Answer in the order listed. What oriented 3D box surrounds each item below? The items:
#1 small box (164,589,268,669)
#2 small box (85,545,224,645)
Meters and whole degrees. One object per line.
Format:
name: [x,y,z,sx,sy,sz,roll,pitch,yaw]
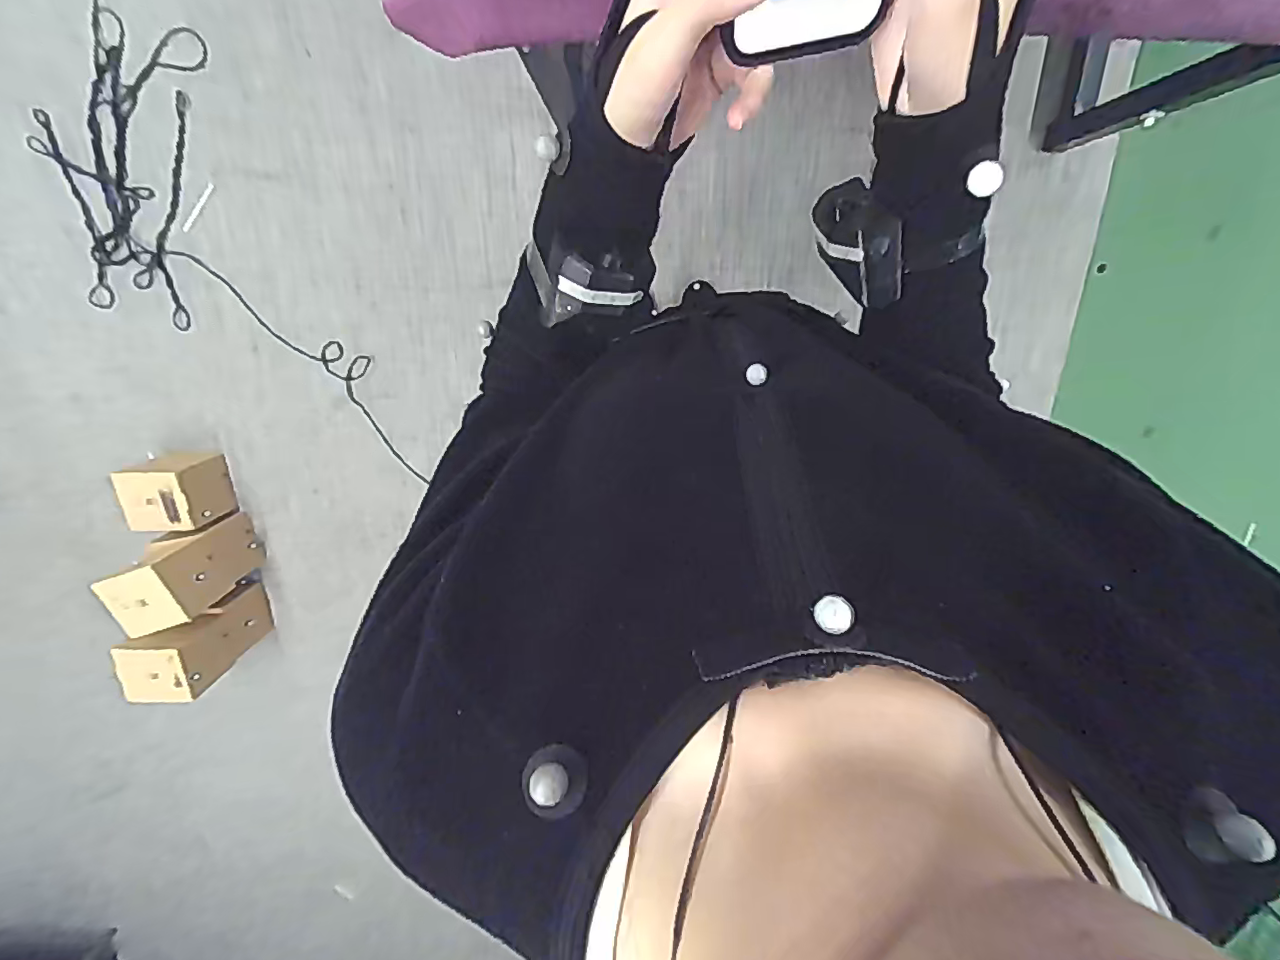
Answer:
small box: [-1.247,0.432,1.596,0.168,0.176,0.179,0,109,1]
small box: [-1.215,0.285,1.377,0.179,0.176,0.168,-17,107,6]
